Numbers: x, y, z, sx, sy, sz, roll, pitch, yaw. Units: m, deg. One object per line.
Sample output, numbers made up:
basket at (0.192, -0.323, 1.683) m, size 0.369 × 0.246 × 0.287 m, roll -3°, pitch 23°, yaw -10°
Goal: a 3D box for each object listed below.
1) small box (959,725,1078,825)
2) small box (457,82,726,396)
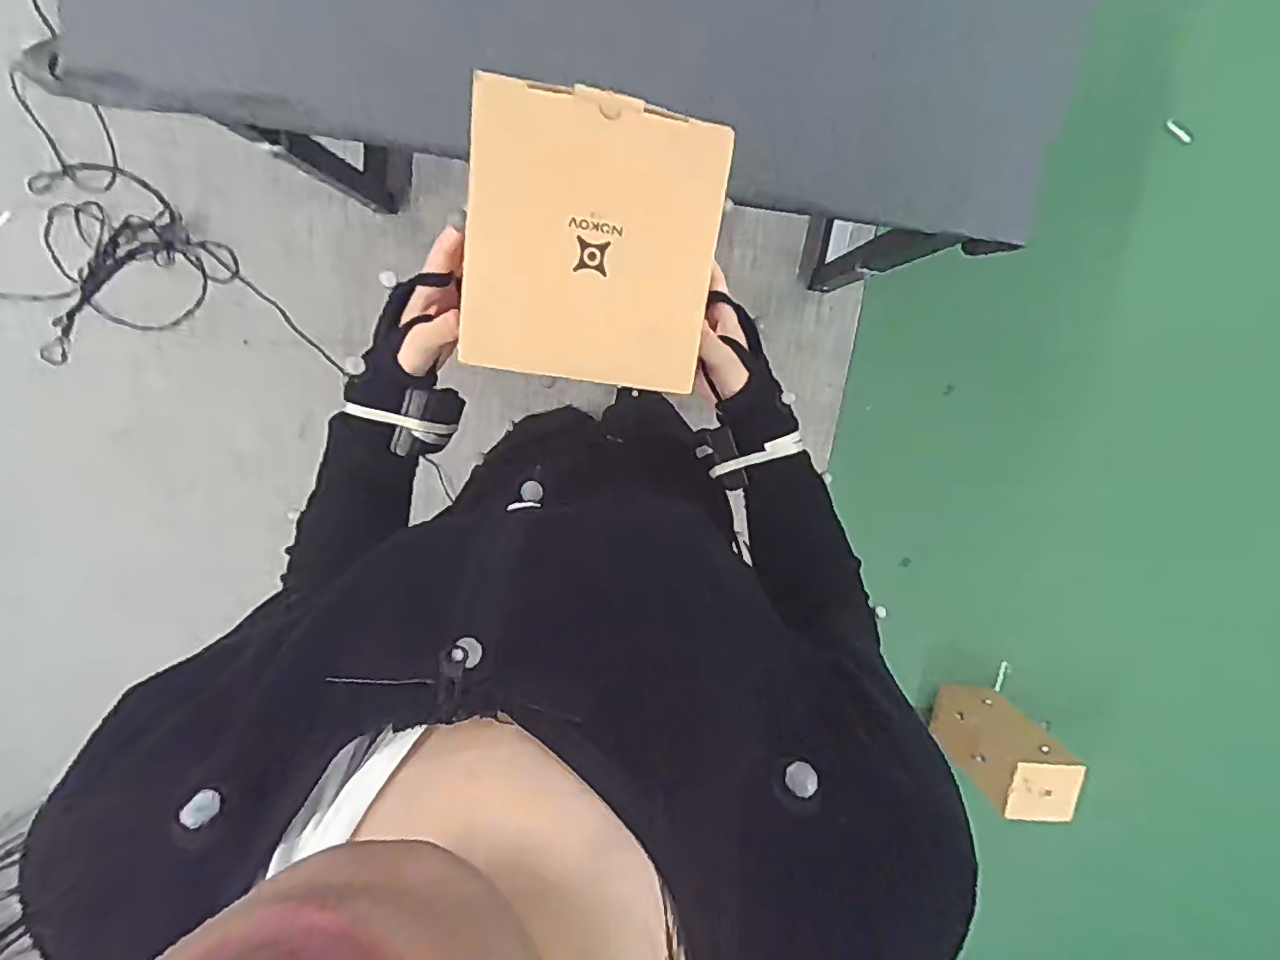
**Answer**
small box at (0.990, 0.772, 1.427) m, size 0.179 × 0.176 × 0.168 m, roll 5°, pitch 101°, yaw -2°
small box at (-0.044, -0.173, 0.440) m, size 0.168 × 0.176 × 0.179 m, roll 6°, pitch 103°, yaw -9°
